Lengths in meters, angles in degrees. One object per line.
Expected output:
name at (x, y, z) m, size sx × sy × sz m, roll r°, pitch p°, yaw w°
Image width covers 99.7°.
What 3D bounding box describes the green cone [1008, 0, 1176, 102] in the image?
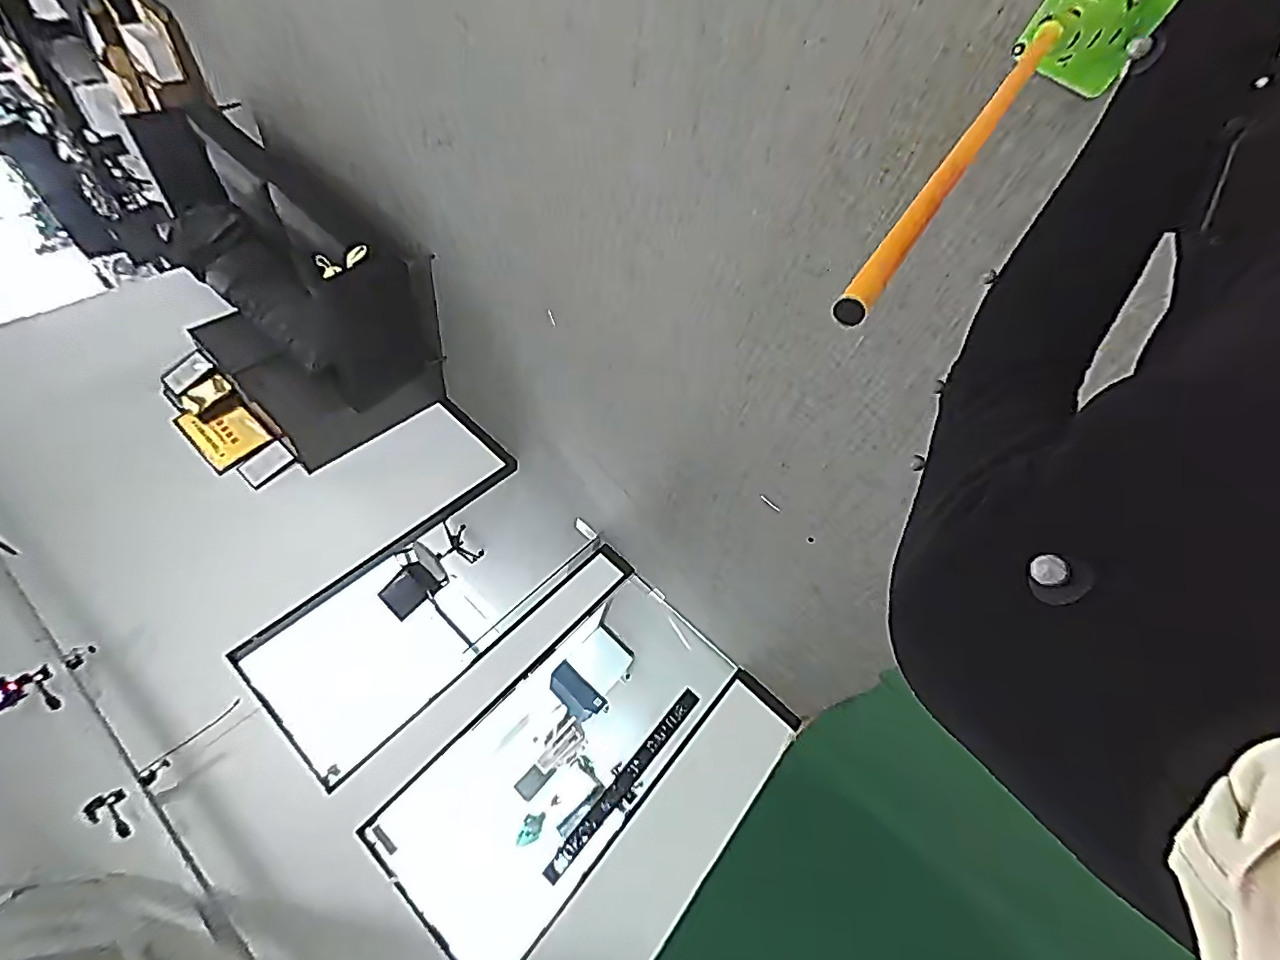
green cone at (0.734, -0.767, 0.921) m, size 0.200 × 0.368 × 0.202 m, roll 41°, pitch 145°, yaw 14°
